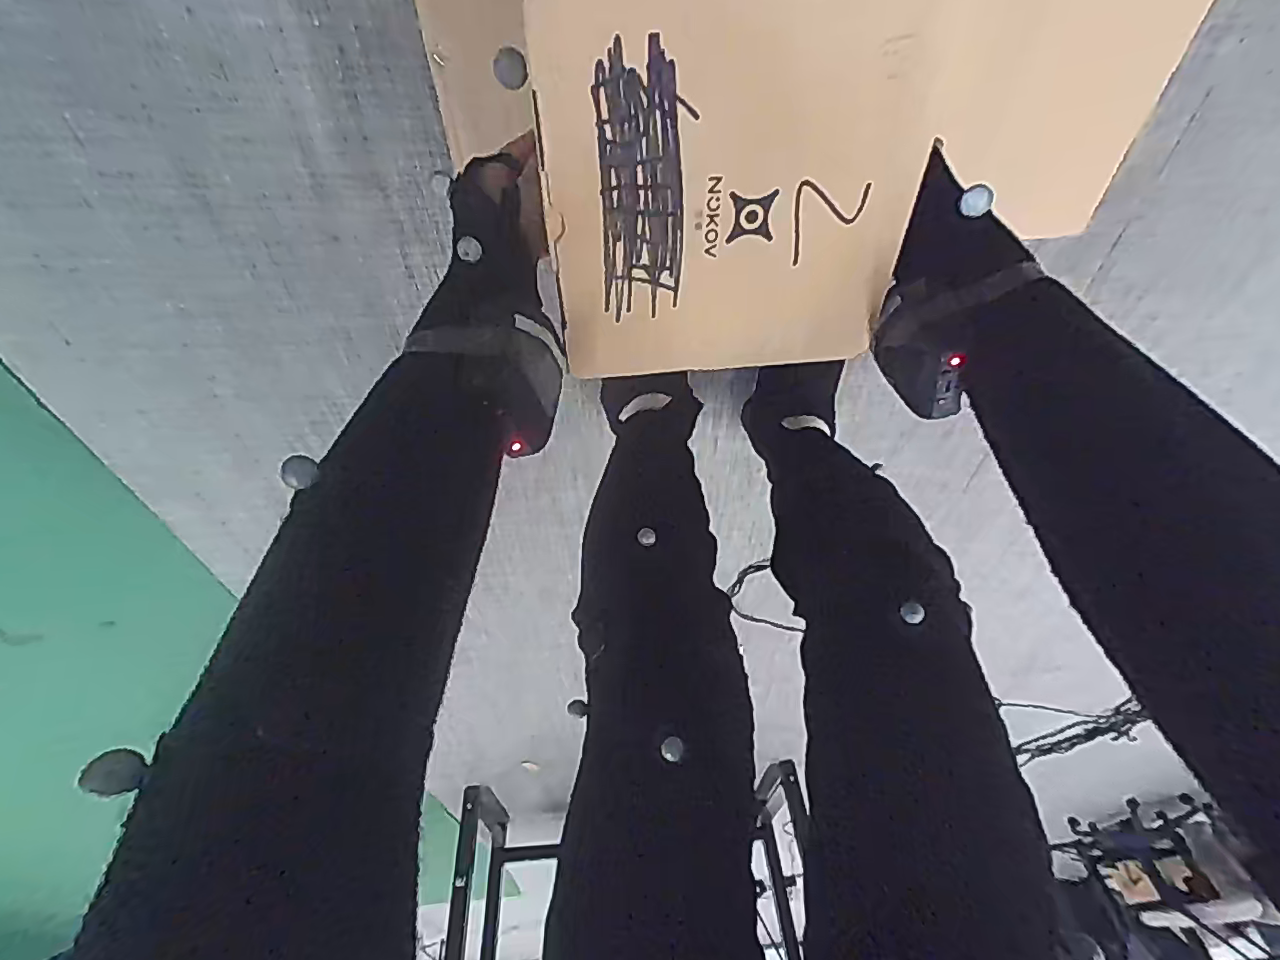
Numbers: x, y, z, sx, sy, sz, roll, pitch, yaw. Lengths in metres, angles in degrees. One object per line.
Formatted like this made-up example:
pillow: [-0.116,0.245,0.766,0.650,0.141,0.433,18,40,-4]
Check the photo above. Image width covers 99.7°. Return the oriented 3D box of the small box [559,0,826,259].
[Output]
small box: [0.021,-0.299,0.433,0.168,0.176,0.179,-2,134,-7]
